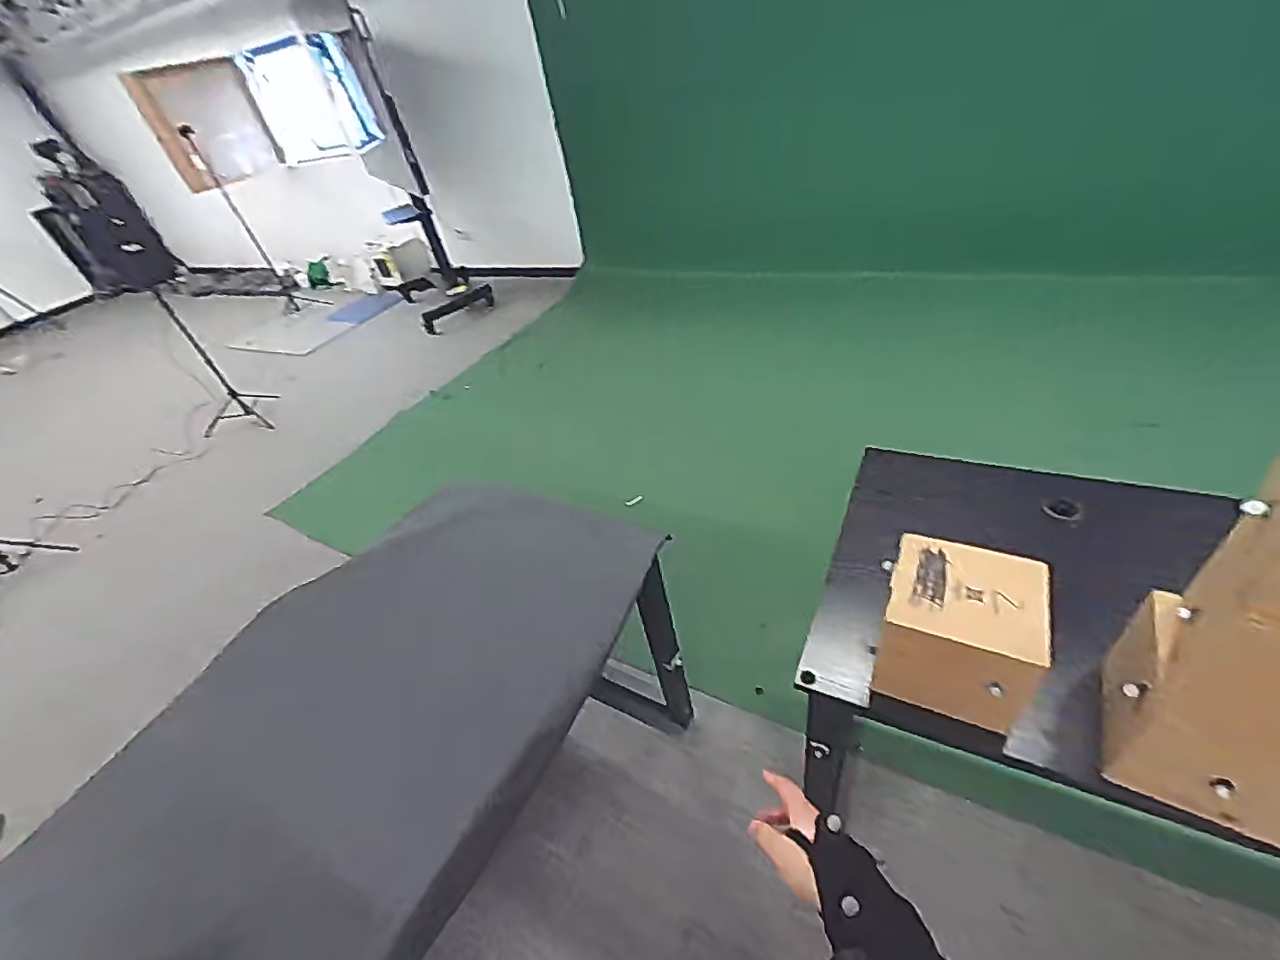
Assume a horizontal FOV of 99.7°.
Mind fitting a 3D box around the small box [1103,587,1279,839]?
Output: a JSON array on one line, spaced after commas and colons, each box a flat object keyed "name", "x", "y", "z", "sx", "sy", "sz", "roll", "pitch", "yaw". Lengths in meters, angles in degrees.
[{"name": "small box", "x": 0.655, "y": 0.259, "z": 0.609, "sx": 0.168, "sy": 0.176, "sz": 0.179, "roll": 15, "pitch": 47, "yaw": 29}]

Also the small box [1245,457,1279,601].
[{"name": "small box", "x": 0.602, "y": 0.018, "z": 0.396, "sx": 0.168, "sy": 0.176, "sz": 0.179, "roll": 24, "pitch": 53, "yaw": 37}]

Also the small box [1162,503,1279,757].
[{"name": "small box", "x": 0.629, "y": 0.152, "z": 0.487, "sx": 0.179, "sy": 0.176, "sz": 0.168, "roll": 21, "pitch": 50, "yaw": 35}]
